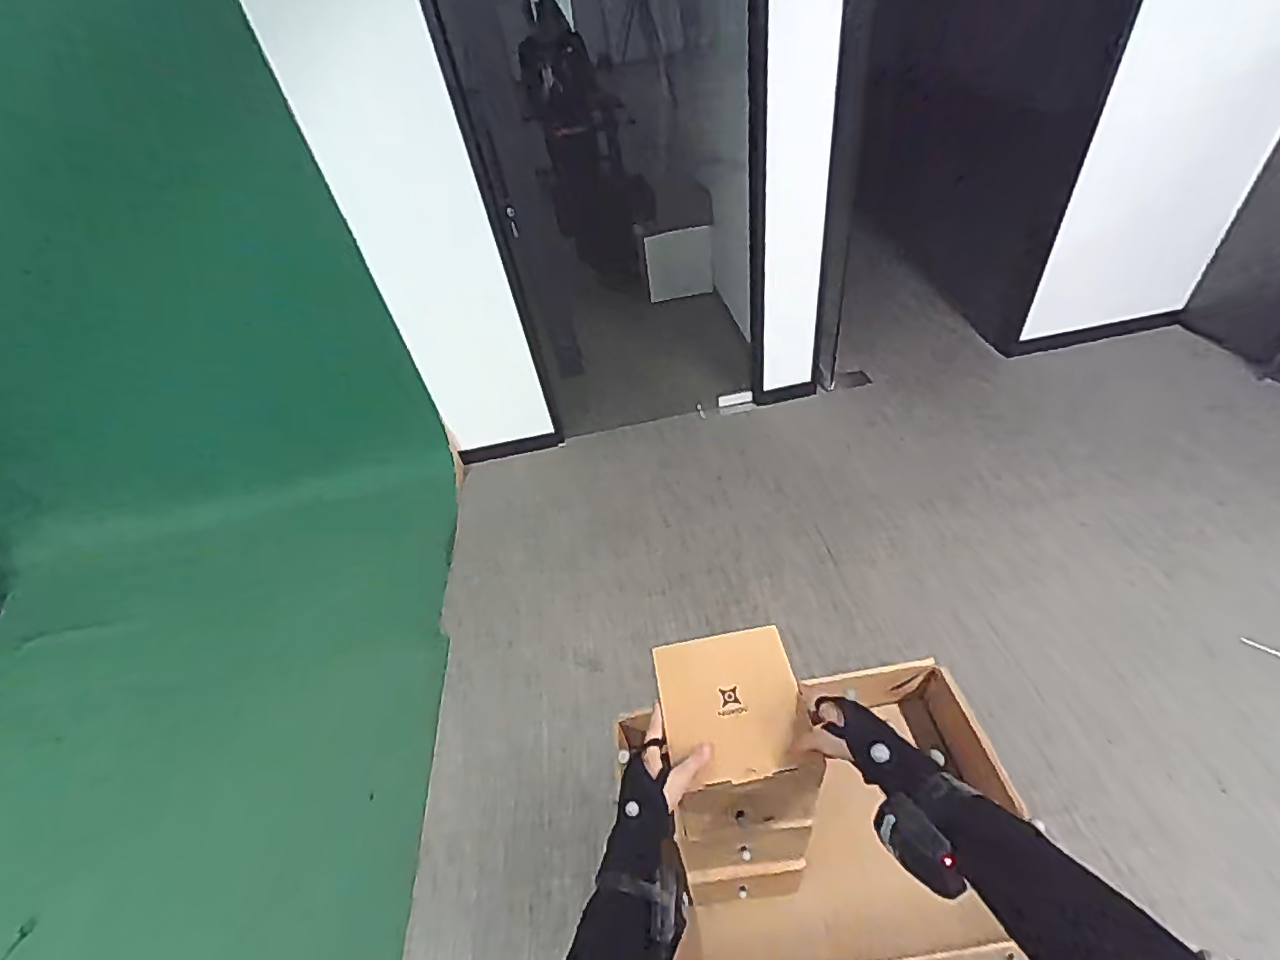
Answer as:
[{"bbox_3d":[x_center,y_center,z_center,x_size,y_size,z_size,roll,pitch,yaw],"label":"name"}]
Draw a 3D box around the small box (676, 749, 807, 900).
[{"bbox_3d":[0.158,0.566,0.887,0.179,0.176,0.168,-9,42,2],"label":"small box"}]
